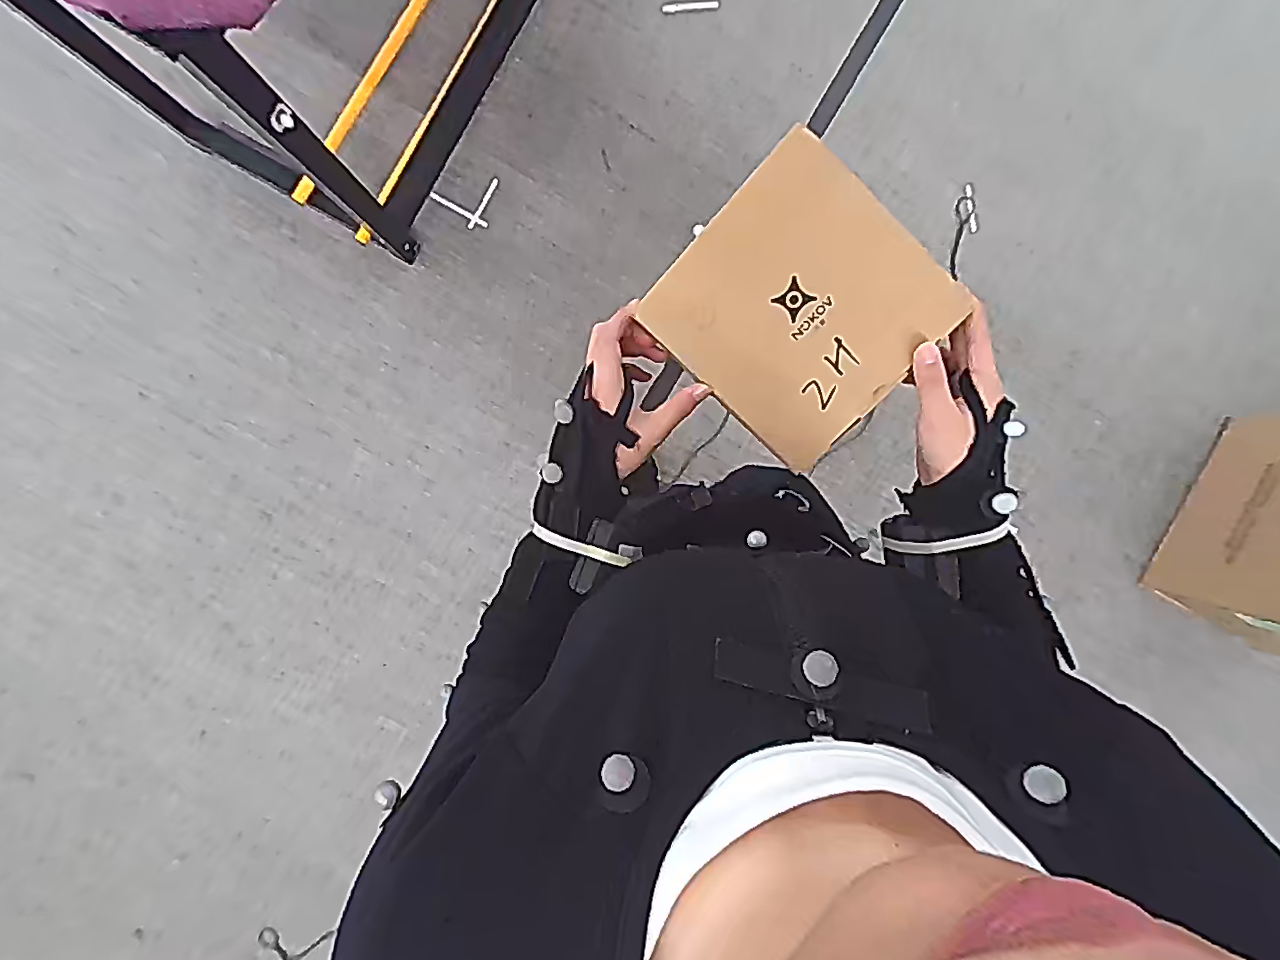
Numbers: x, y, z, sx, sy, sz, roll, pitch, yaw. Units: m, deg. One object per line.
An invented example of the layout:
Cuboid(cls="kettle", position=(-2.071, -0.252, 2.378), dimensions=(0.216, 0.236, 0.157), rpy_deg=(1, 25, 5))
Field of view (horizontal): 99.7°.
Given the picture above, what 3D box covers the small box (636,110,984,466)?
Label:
Cuboid(cls="small box", position=(0.117, -0.139, 0.443), dimensions=(0.179, 0.176, 0.168), rpy_deg=(42, 103, -6))
